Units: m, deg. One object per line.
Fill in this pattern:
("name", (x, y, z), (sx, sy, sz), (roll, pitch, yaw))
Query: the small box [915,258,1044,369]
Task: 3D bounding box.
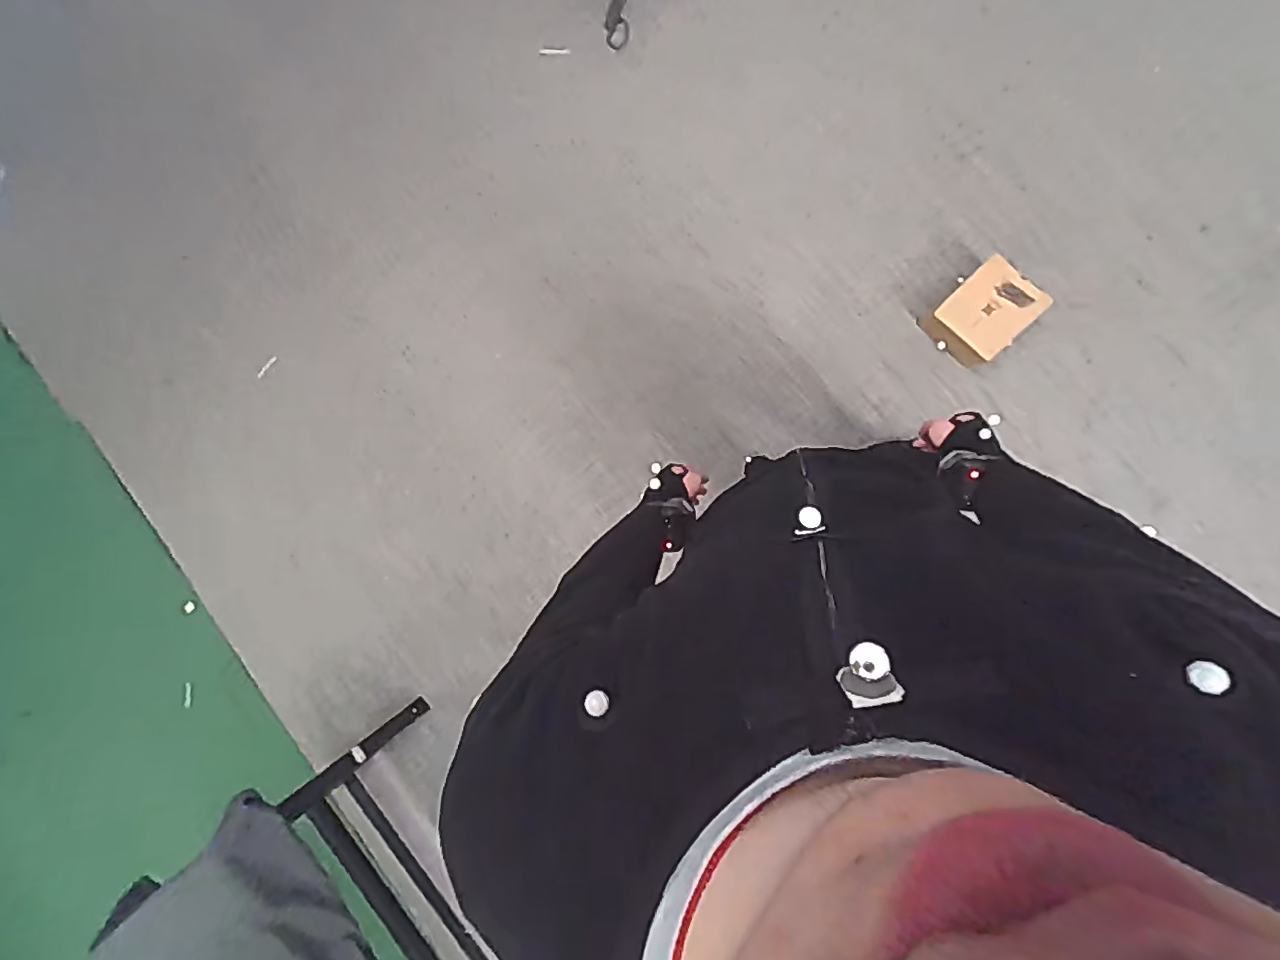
("small box", (0.794, -0.386, 1.287), (0.168, 0.176, 0.179), (46, 105, 7))
